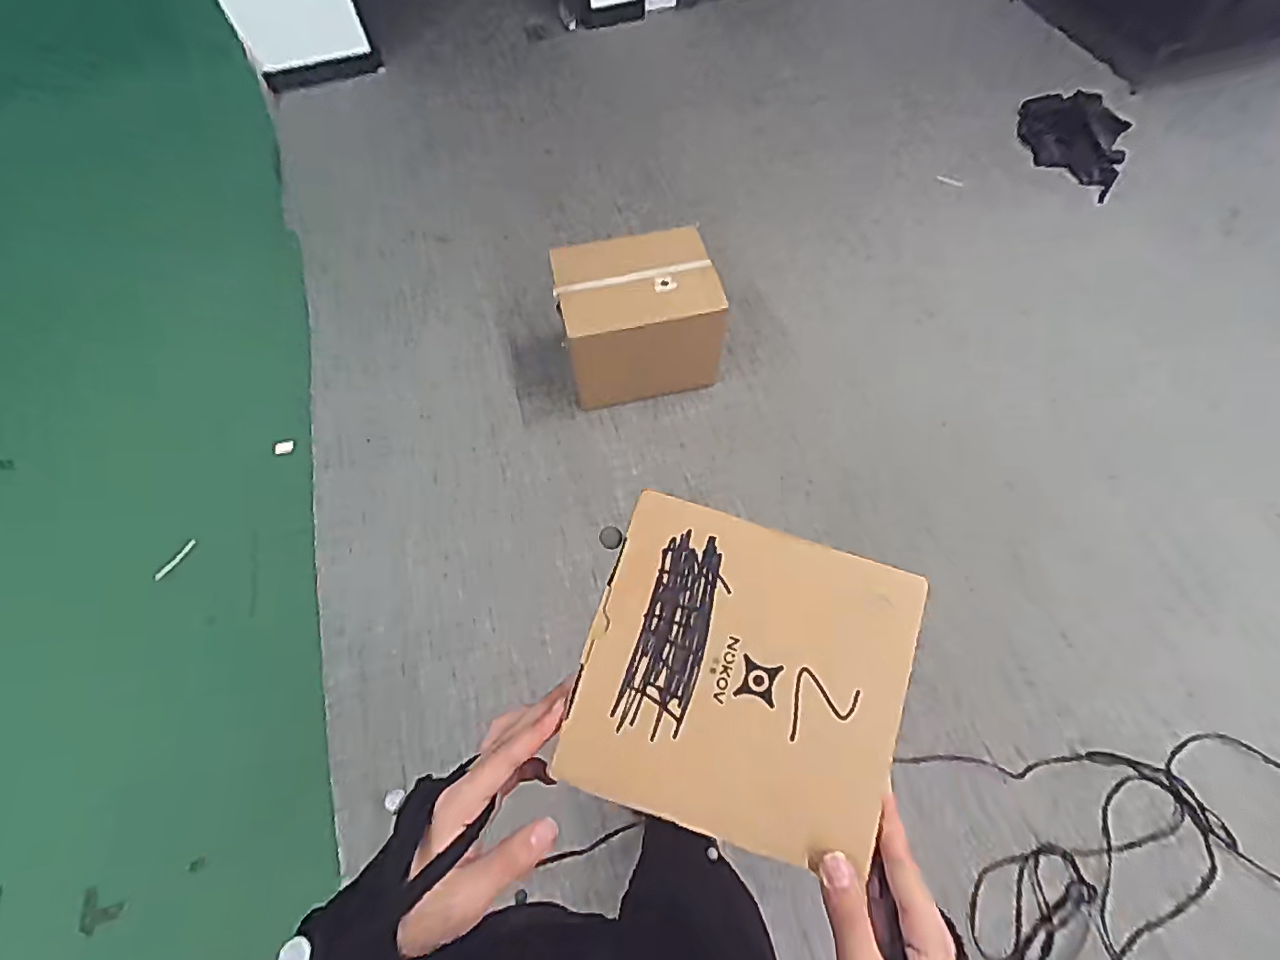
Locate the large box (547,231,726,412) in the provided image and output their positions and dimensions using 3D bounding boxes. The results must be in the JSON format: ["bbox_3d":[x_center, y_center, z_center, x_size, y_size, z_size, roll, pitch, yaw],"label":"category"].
[{"bbox_3d":[-0.017,-0.431,1.499,0.408,0.320,0.320,-12,64,-6],"label":"large box"}]
